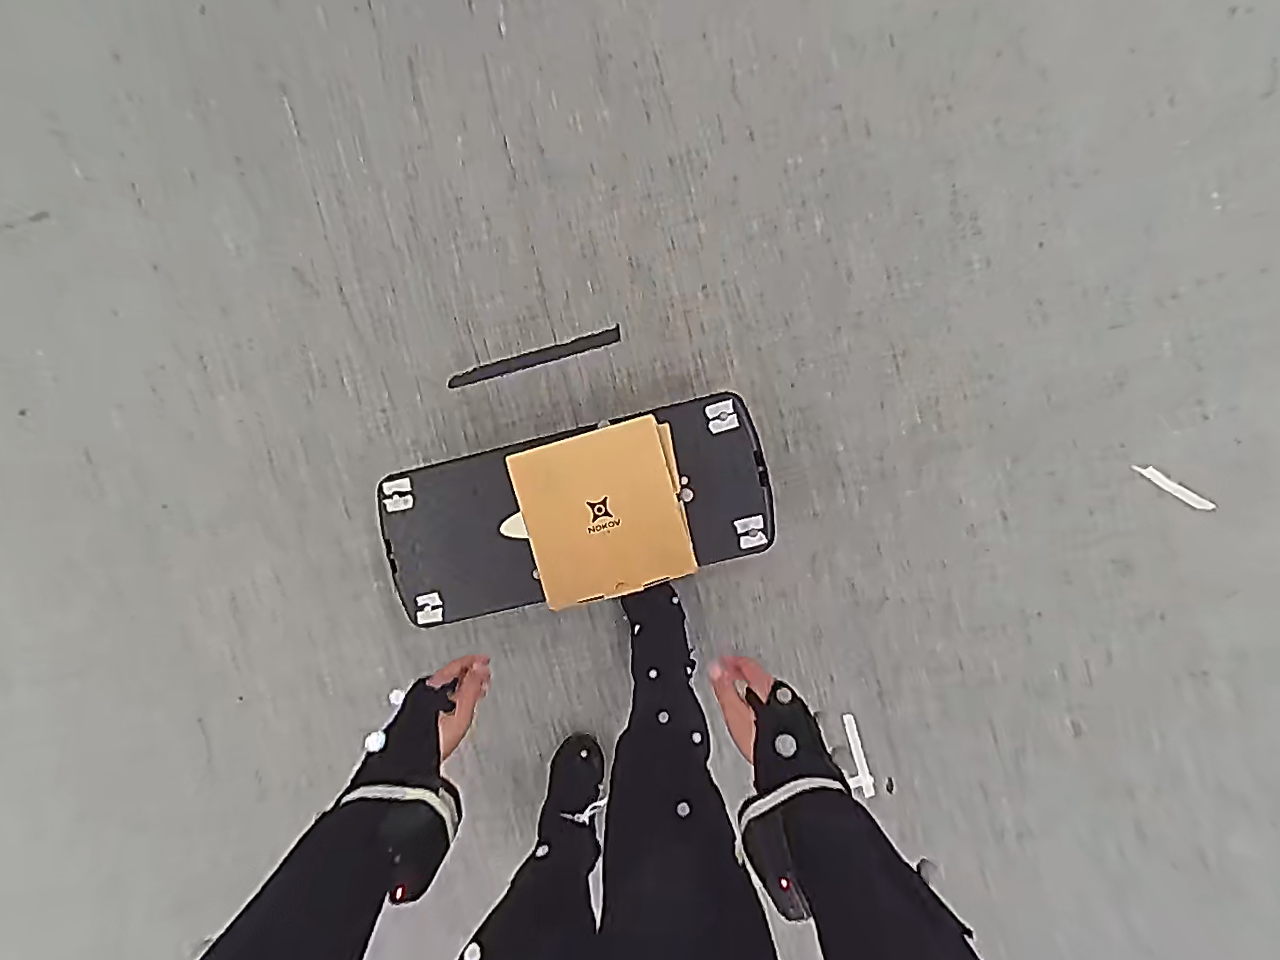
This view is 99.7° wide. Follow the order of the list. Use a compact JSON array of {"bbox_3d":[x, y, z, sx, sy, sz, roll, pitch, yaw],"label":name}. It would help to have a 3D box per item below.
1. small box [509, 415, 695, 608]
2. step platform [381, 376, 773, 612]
[{"bbox_3d":[-0.039,0.032,0.656,0.168,0.176,0.179,-16,92,3],"label":"small box"},{"bbox_3d":[-0.108,0.026,0.996,0.684,0.204,0.286,-14,91,4],"label":"step platform"}]
